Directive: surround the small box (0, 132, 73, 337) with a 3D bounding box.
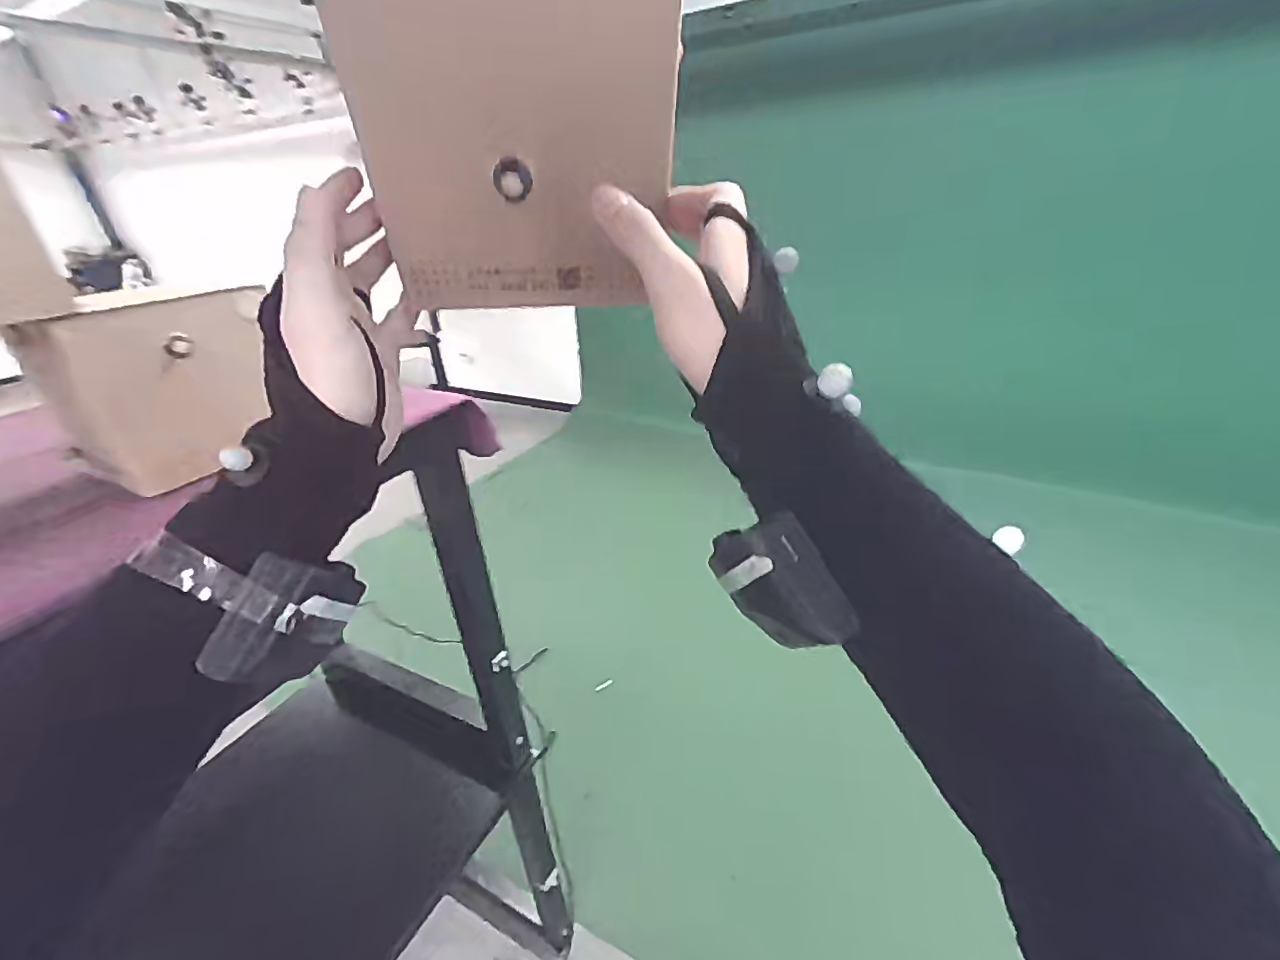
[{"bbox_3d":[-0.568,-0.181,0.384,0.168,0.176,0.179,11,31,28],"label":"small box"}]

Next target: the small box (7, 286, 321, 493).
[{"bbox_3d":[-0.487,-0.103,0.575,0.168,0.176,0.179,11,31,26],"label":"small box"}]
